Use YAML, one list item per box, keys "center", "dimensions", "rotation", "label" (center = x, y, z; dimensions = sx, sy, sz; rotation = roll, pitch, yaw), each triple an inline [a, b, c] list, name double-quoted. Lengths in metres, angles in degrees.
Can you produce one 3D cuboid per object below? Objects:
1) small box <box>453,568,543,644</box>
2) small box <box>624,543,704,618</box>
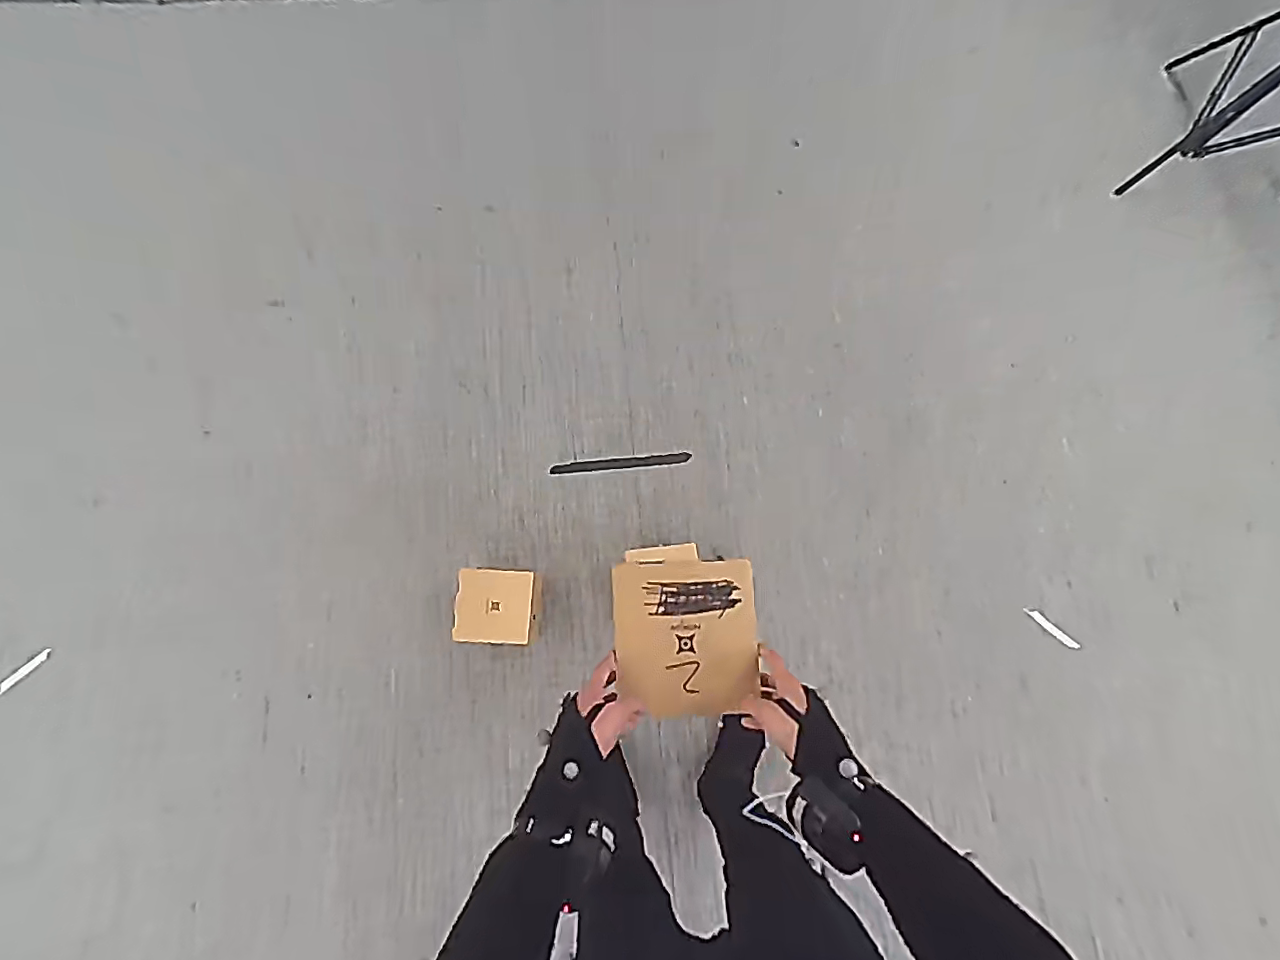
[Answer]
- center: [-0.339, 0.308, 1.330]
  dimensions: [0.179, 0.176, 0.168]
  rotation: [3, 77, -1]
  label: "small box"
- center: [0.054, 0.256, 1.357]
  dimensions: [0.179, 0.176, 0.168]
  rotation: [-6, 78, -5]
  label: "small box"
